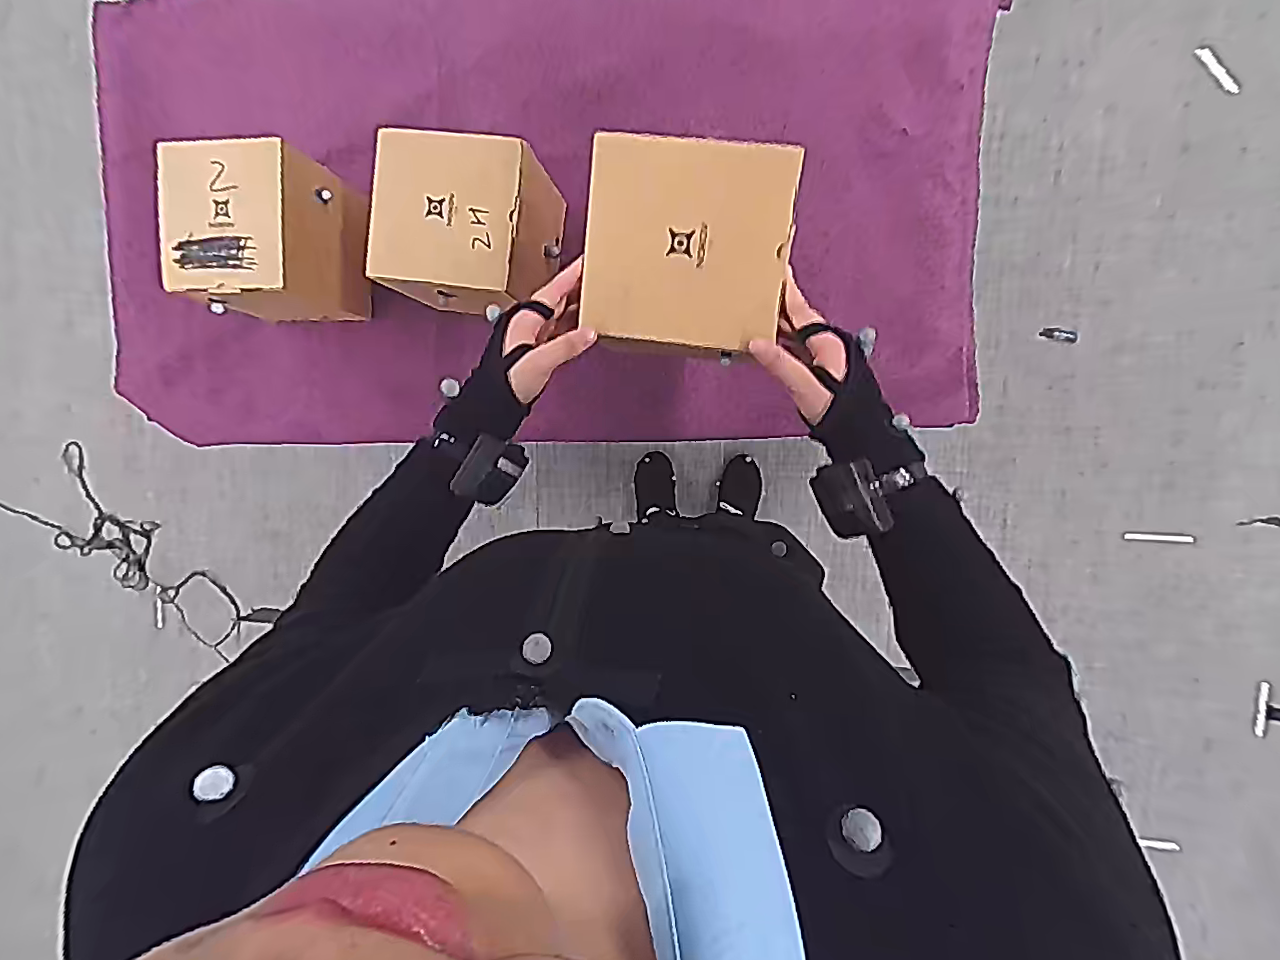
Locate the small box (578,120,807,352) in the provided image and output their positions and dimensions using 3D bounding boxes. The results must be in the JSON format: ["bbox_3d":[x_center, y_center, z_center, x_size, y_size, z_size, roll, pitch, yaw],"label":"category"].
[{"bbox_3d":[0.048,-0.221,0.534,0.179,0.176,0.168,7,100,4],"label":"small box"}]

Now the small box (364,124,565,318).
[{"bbox_3d":[-0.209,-0.310,0.679,0.179,0.176,0.168,9,96,6],"label":"small box"}]
